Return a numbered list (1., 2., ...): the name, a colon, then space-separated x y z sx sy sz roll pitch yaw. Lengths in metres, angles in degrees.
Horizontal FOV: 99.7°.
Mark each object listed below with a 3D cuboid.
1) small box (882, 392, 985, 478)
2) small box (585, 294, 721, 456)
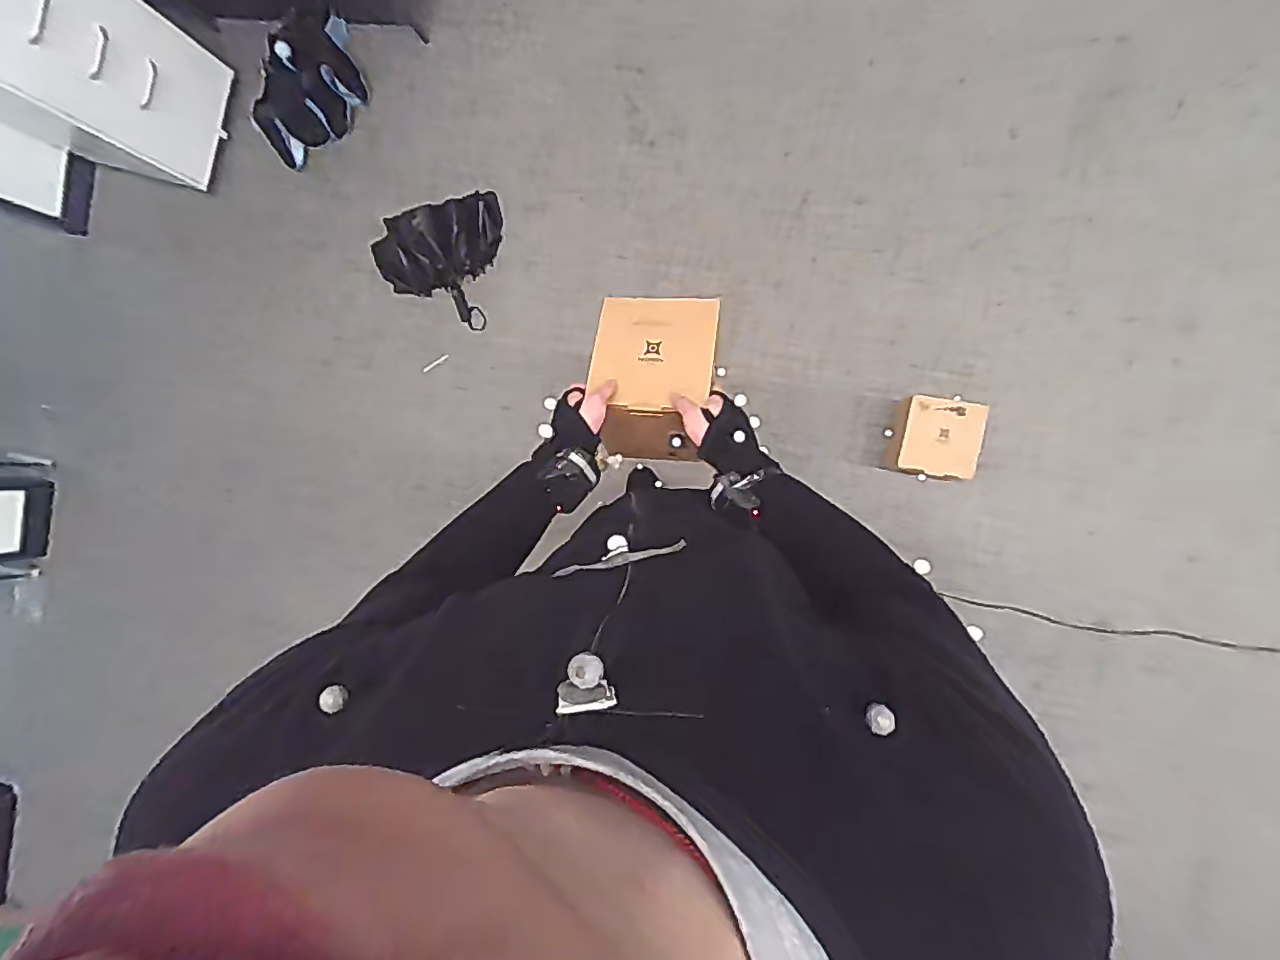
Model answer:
1. small box: 0.712 -0.107 1.334 0.168 0.176 0.179 12 94 12
2. small box: 0.030 -0.147 0.795 0.168 0.176 0.179 4 67 11
